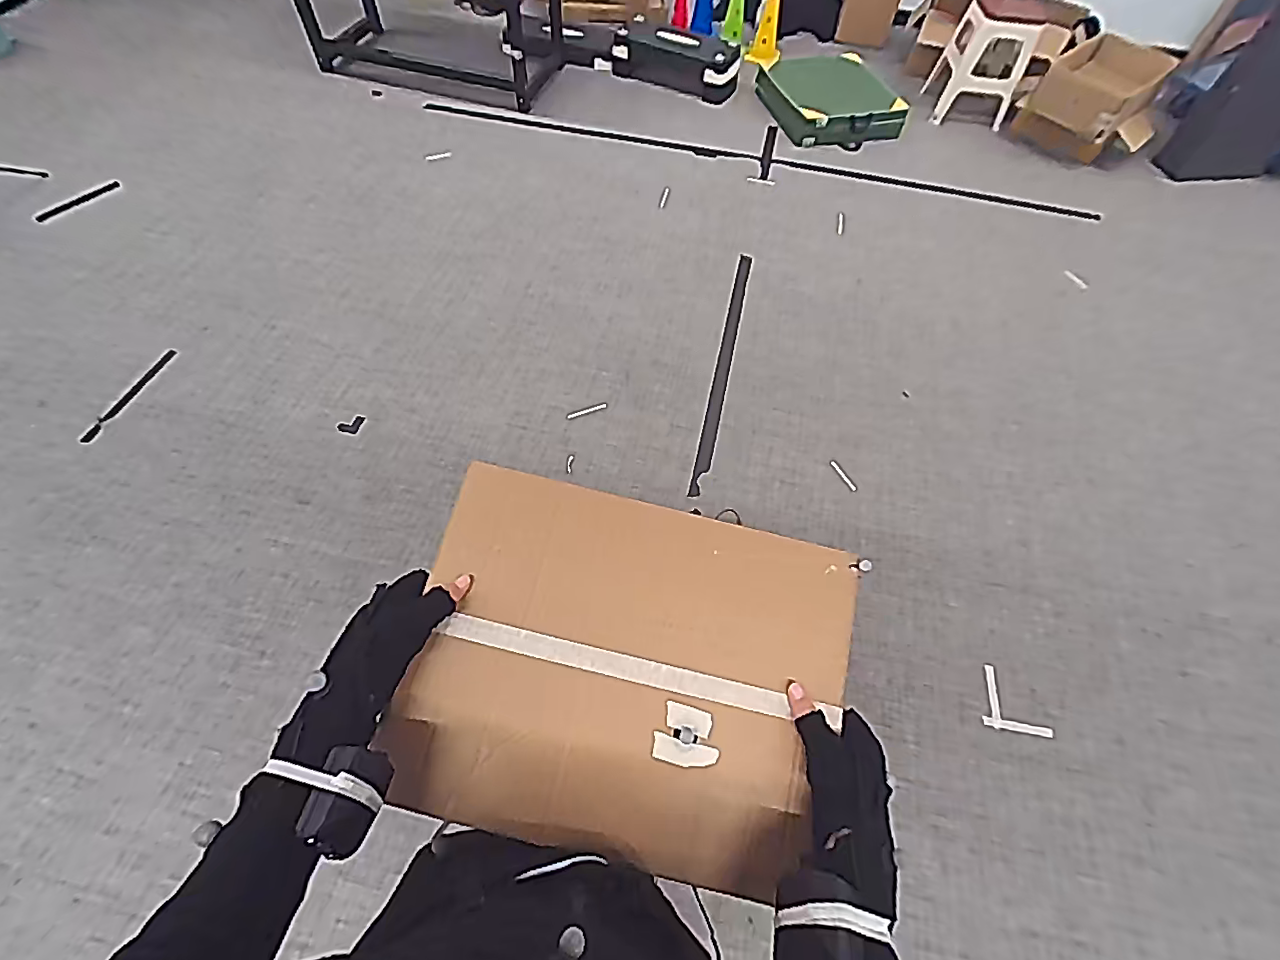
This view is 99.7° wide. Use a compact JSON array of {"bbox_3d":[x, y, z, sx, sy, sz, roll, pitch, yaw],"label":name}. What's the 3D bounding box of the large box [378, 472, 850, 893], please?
[{"bbox_3d":[-0.017,0.219,0.659,0.408,0.320,0.320,14,74,2],"label":"large box"}]
